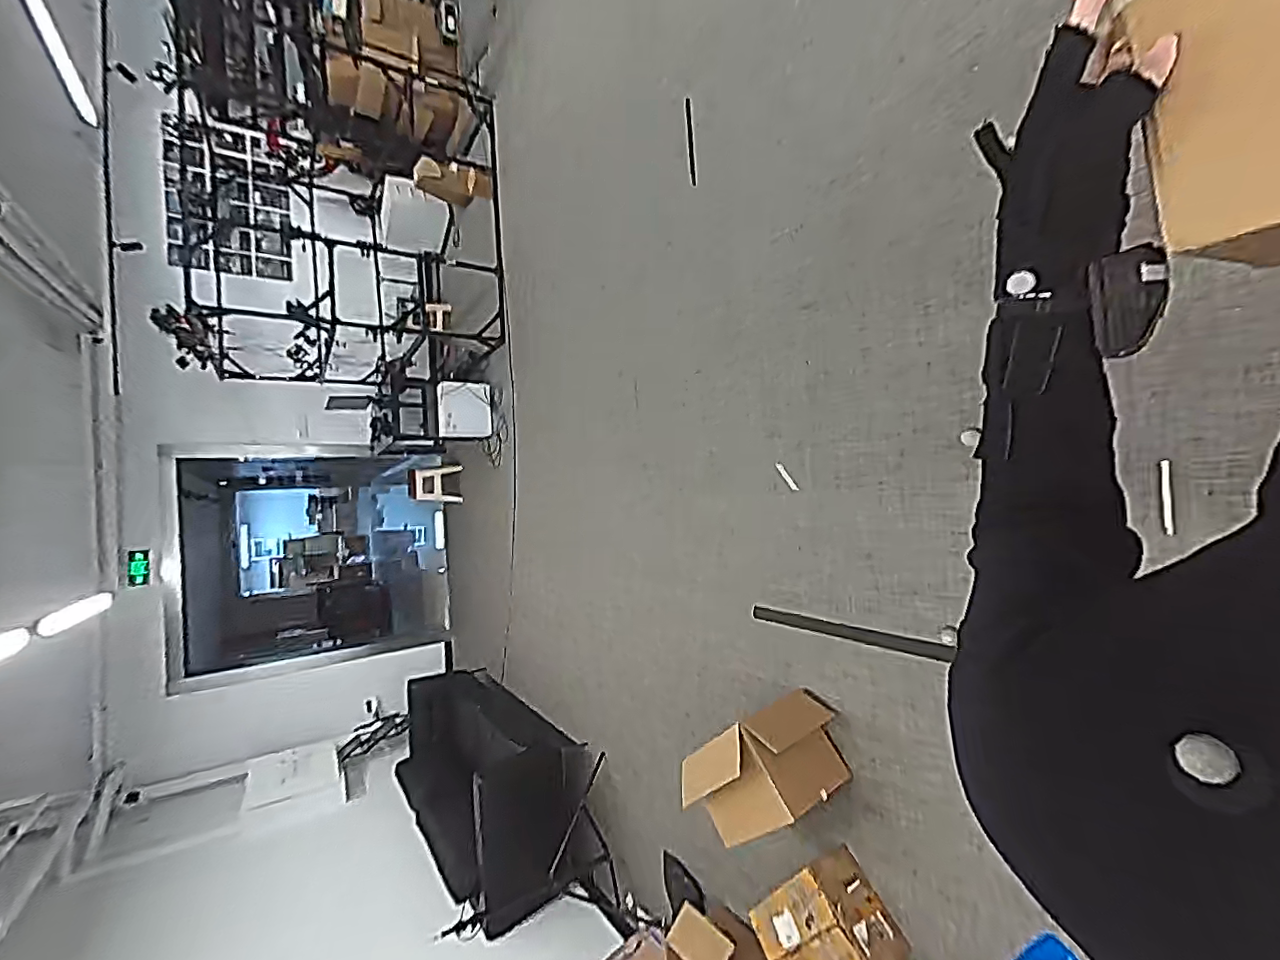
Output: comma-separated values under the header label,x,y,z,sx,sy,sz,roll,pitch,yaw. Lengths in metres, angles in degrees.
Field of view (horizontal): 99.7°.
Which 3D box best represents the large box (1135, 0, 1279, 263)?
label,x,y,z,sx,sy,sz,roll,pitch,yaw
large box,0.513,-0.332,0.235,0.408,0.320,0.320,-8,94,56
